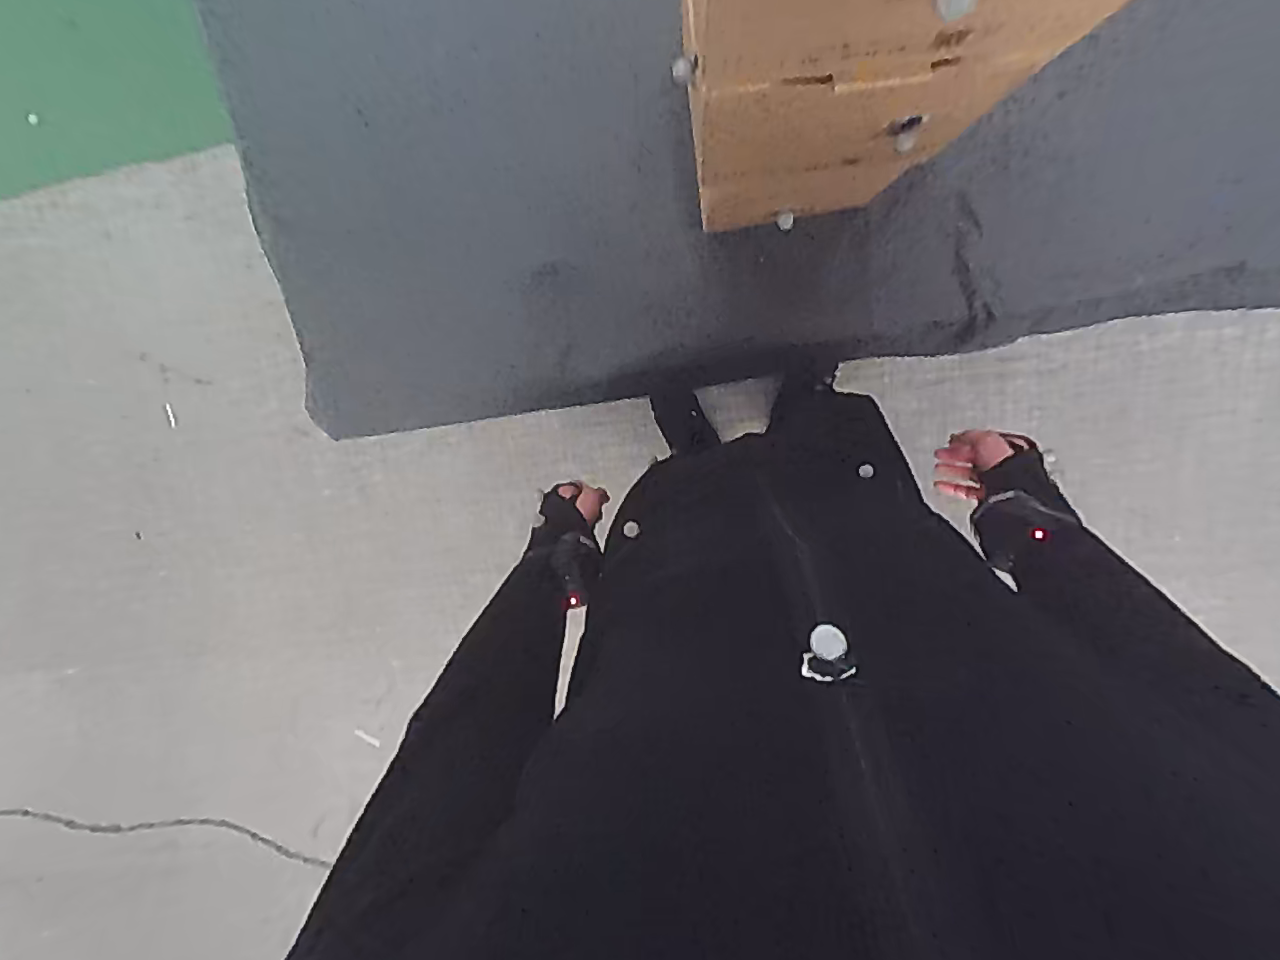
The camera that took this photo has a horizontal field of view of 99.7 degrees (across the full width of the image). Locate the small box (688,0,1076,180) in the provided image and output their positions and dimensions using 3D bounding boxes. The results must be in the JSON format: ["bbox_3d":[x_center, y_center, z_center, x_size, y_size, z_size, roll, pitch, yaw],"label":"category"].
[{"bbox_3d":[0.110,-0.288,0.304,0.168,0.176,0.179,-4,103,7],"label":"small box"}]

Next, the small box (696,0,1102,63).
[{"bbox_3d":[0.095,-0.248,0.146,0.168,0.176,0.179,-2,105,6],"label":"small box"}]

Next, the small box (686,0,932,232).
[{"bbox_3d":[0.128,-0.331,0.459,0.168,0.176,0.179,-7,104,9],"label":"small box"}]
